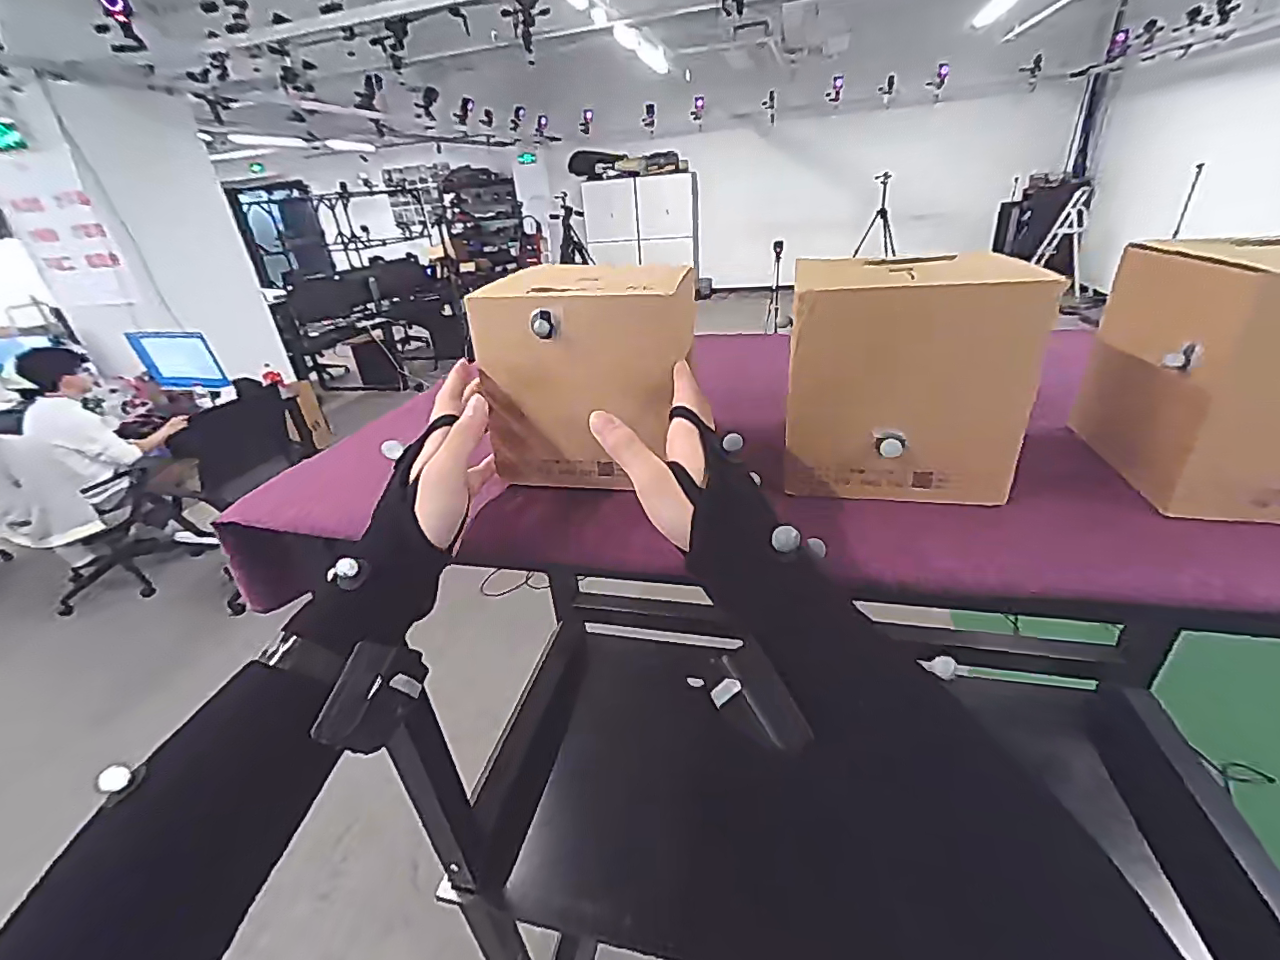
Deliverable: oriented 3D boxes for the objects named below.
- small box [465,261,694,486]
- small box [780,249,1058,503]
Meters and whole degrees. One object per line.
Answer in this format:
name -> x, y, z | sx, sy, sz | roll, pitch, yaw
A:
small box -> -0.040, -0.109, 0.511 | 0.168, 0.176, 0.179 | 2, 27, 10
small box -> 0.211, -0.098, 0.466 | 0.168, 0.176, 0.179 | 3, 29, 15
